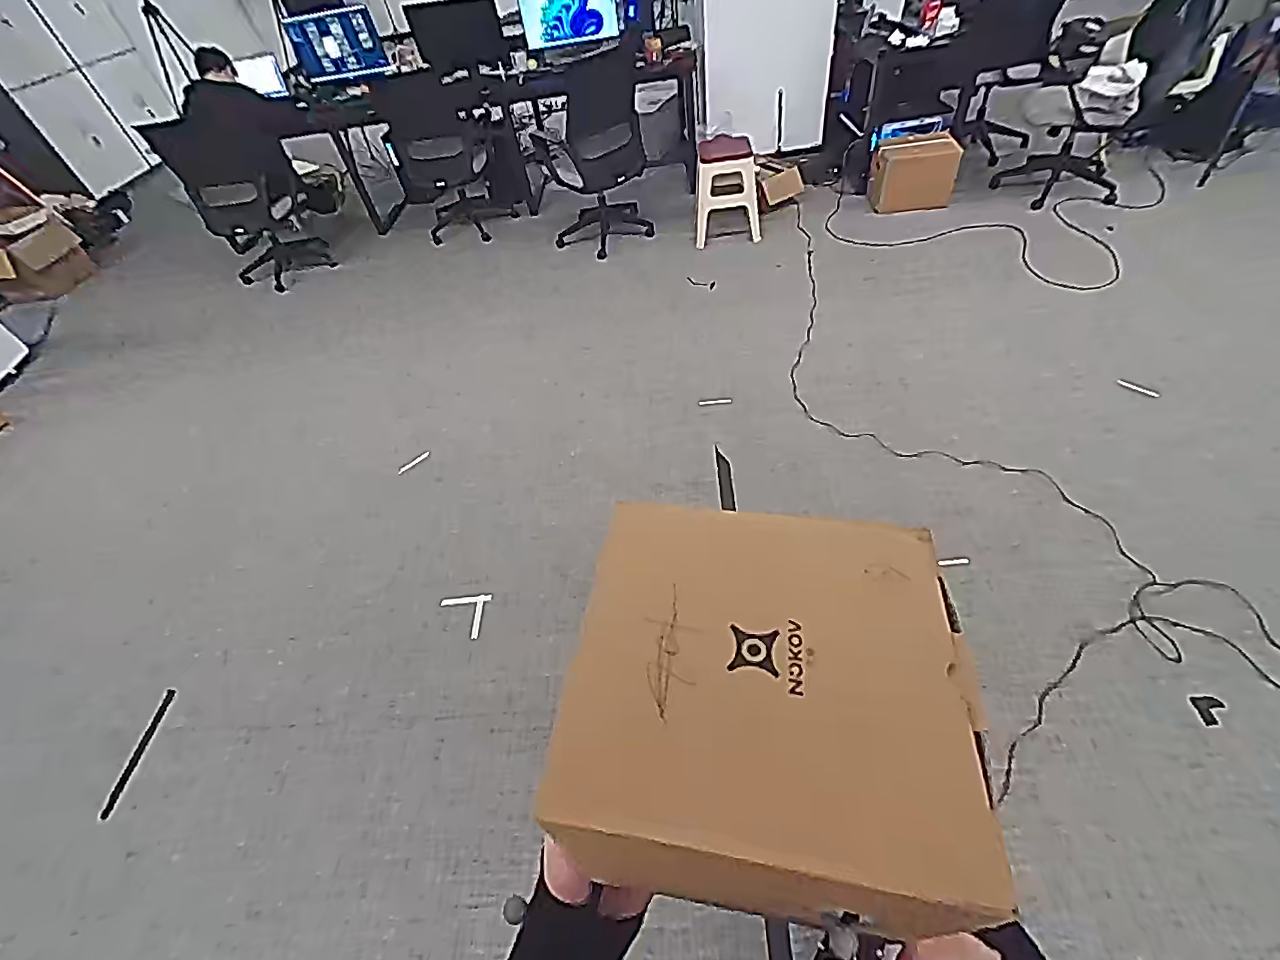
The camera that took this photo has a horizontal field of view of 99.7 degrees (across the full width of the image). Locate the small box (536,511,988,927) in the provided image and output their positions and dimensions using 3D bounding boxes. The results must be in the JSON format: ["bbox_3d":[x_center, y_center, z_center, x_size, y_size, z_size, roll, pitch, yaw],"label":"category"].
[{"bbox_3d":[0.061,0.140,0.319,0.179,0.176,0.168,4,47,10],"label":"small box"}]
